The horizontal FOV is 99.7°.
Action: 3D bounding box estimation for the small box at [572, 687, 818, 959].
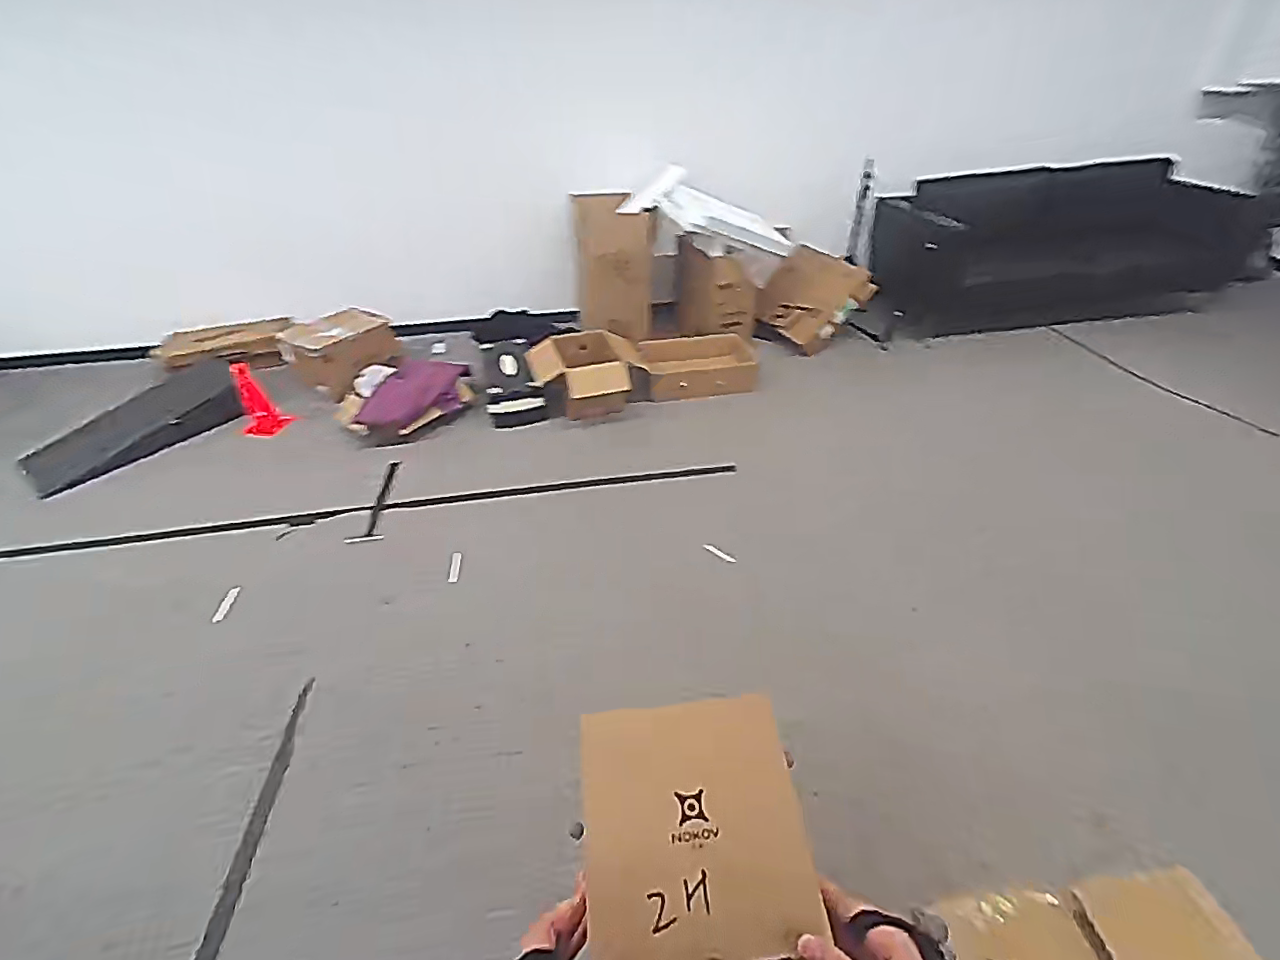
[{"bbox_3d":[0.031,0.307,0.473,0.168,0.176,0.179,-6,48,-4],"label":"small box"}]
